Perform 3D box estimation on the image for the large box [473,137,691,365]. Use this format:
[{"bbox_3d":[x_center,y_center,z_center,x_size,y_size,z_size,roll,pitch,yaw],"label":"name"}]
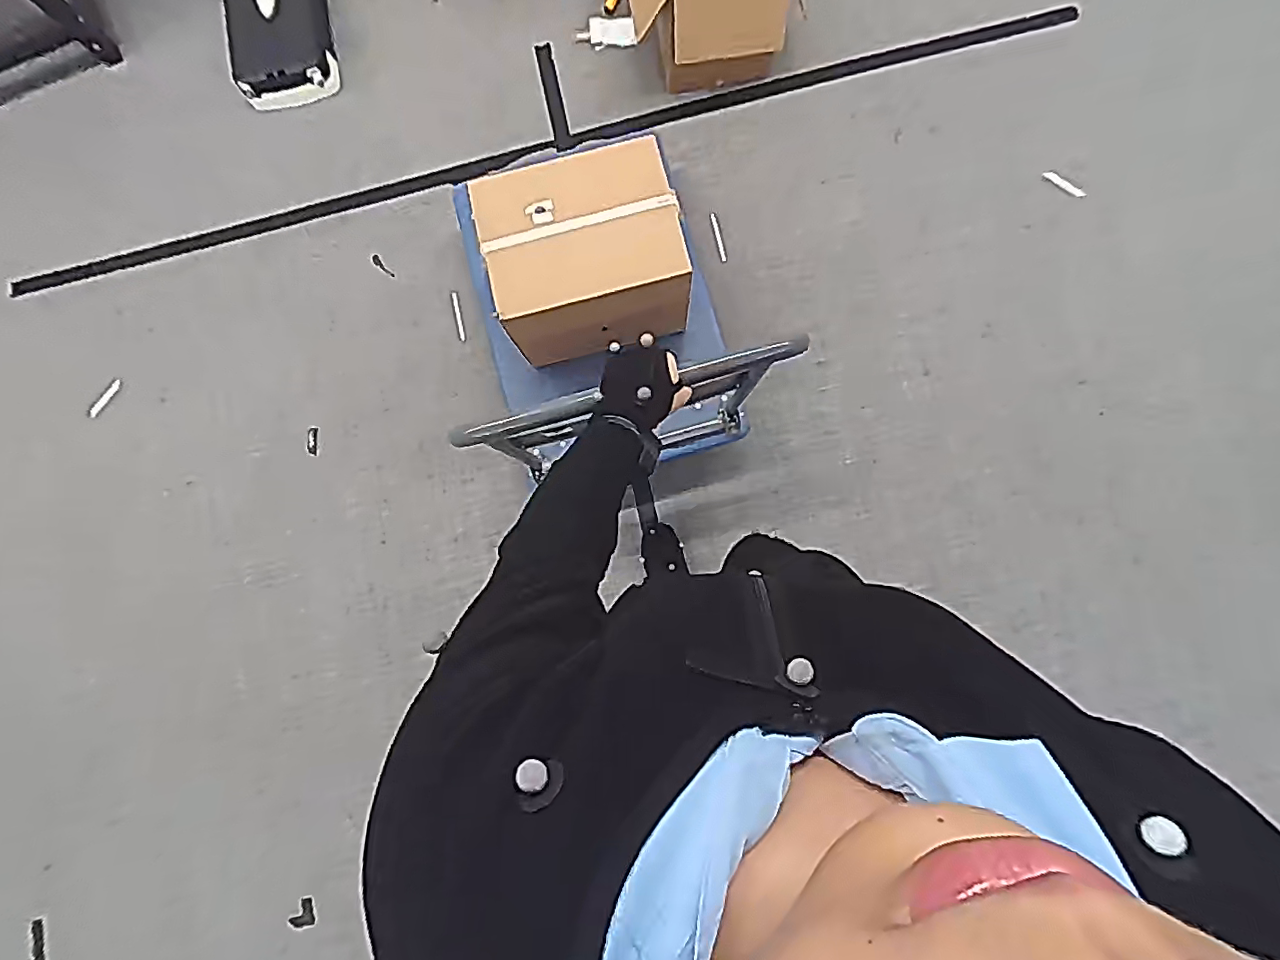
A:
[{"bbox_3d":[-0.116,-0.504,1.262,0.408,0.320,0.320,-15,82,2],"label":"large box"}]
